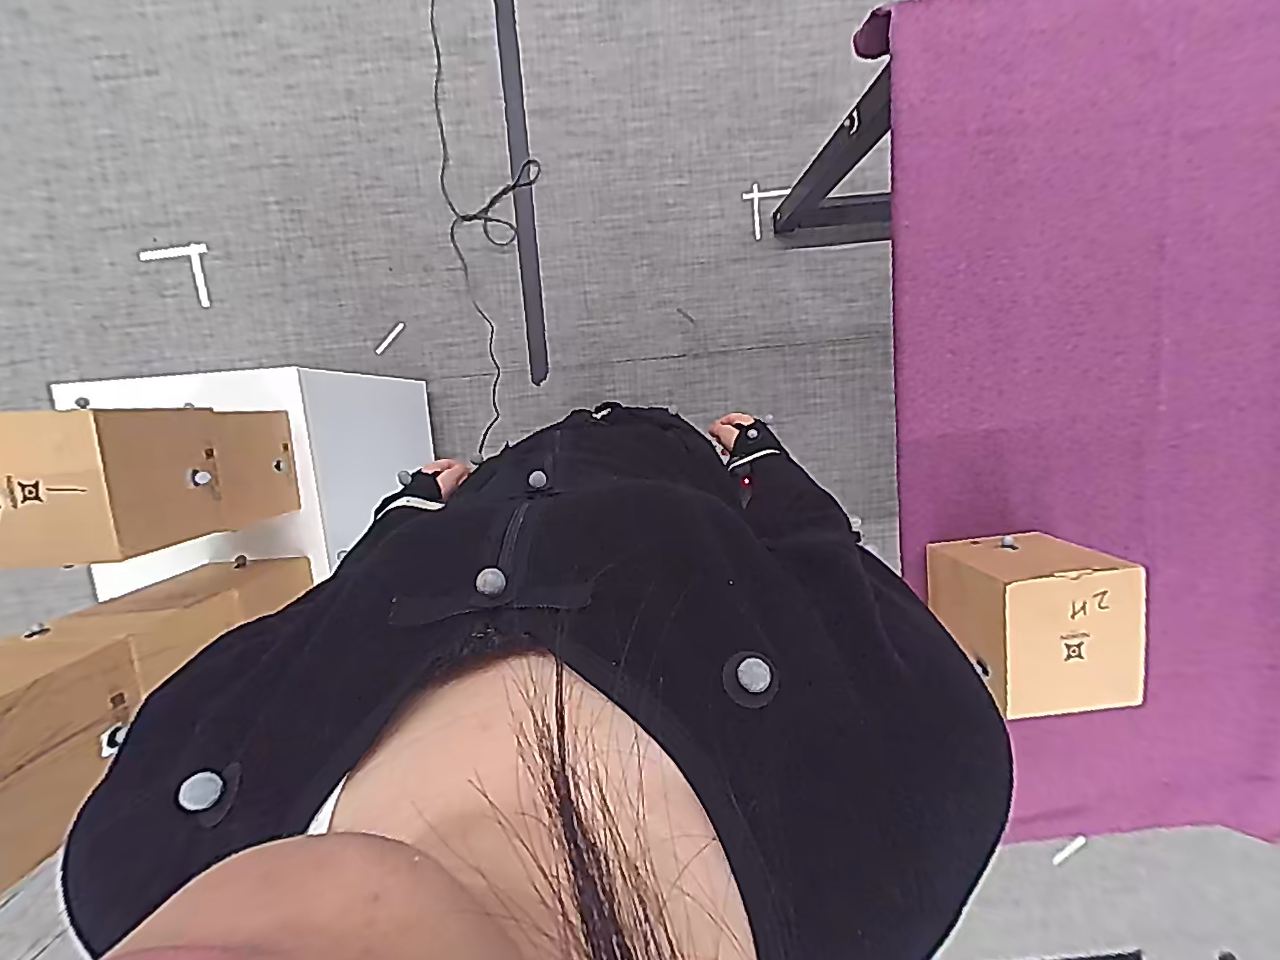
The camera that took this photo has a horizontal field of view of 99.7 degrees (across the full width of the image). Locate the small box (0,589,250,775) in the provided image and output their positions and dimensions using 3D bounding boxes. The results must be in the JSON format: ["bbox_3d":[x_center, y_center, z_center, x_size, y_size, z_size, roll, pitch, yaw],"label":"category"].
[{"bbox_3d":[-0.629,0.244,0.675,0.179,0.176,0.168,-5,98,0],"label":"small box"}]

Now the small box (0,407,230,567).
[{"bbox_3d":[-0.638,-0.001,0.638,0.179,0.176,0.168,-3,99,-2],"label":"small box"}]

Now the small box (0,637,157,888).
[{"bbox_3d":[-0.628,0.266,0.514,0.179,0.176,0.168,-6,99,-1],"label":"small box"}]

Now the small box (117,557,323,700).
[{"bbox_3d":[-0.633,0.223,0.835,0.179,0.176,0.168,-4,99,1],"label":"small box"}]

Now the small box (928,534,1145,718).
[{"bbox_3d":[0.504,0.181,0.712,0.168,0.176,0.179,-6,98,-1],"label":"small box"}]
